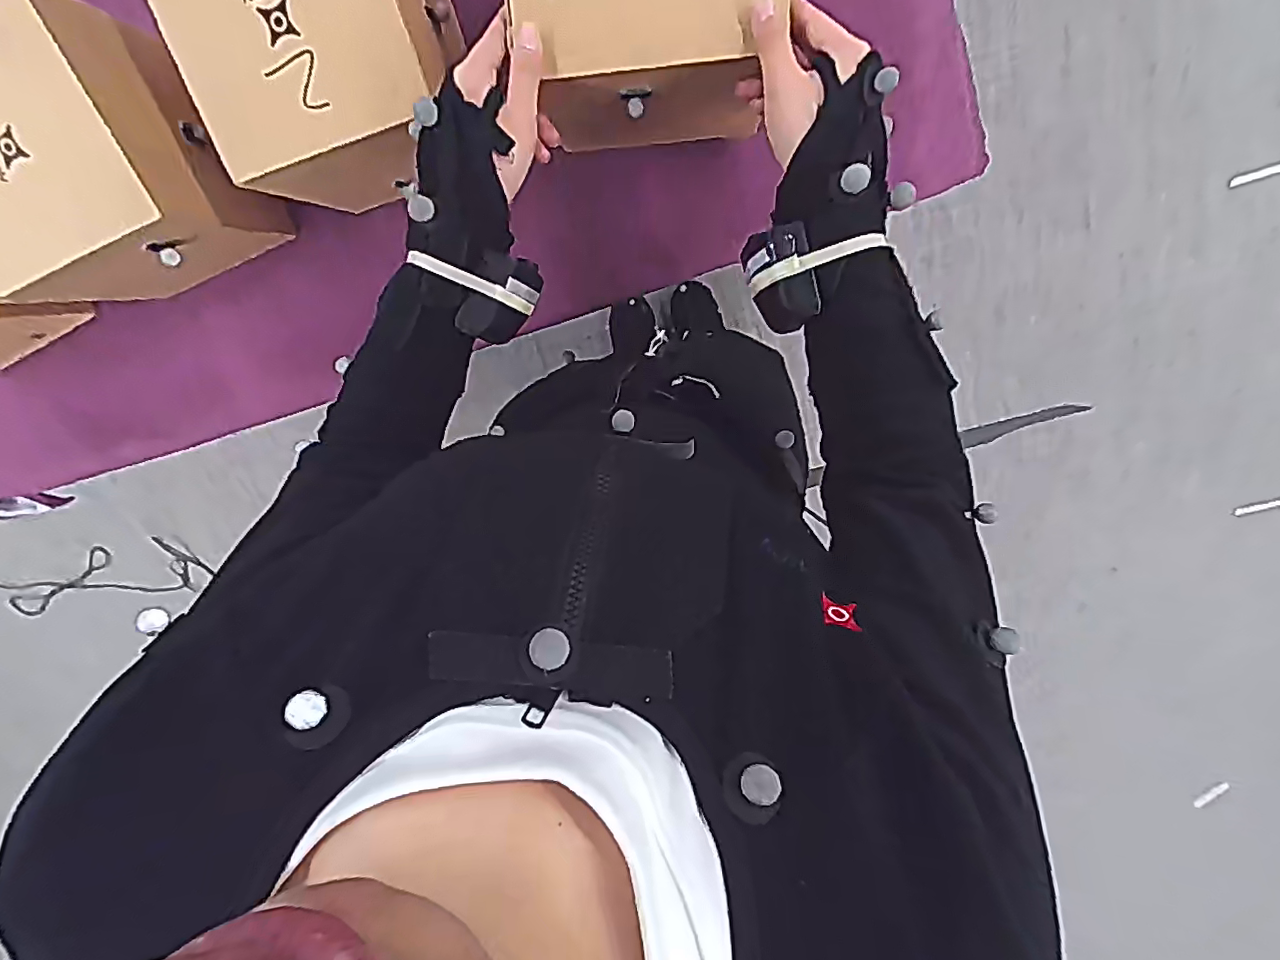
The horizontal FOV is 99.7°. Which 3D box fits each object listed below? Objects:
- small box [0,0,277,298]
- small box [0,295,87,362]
[{"bbox_3d":[-0.465,-0.273,0.472,0.179,0.176,0.168,-19,107,9],"label":"small box"},{"bbox_3d":[-0.709,-0.201,0.511,0.168,0.176,0.179,-22,107,10],"label":"small box"}]
